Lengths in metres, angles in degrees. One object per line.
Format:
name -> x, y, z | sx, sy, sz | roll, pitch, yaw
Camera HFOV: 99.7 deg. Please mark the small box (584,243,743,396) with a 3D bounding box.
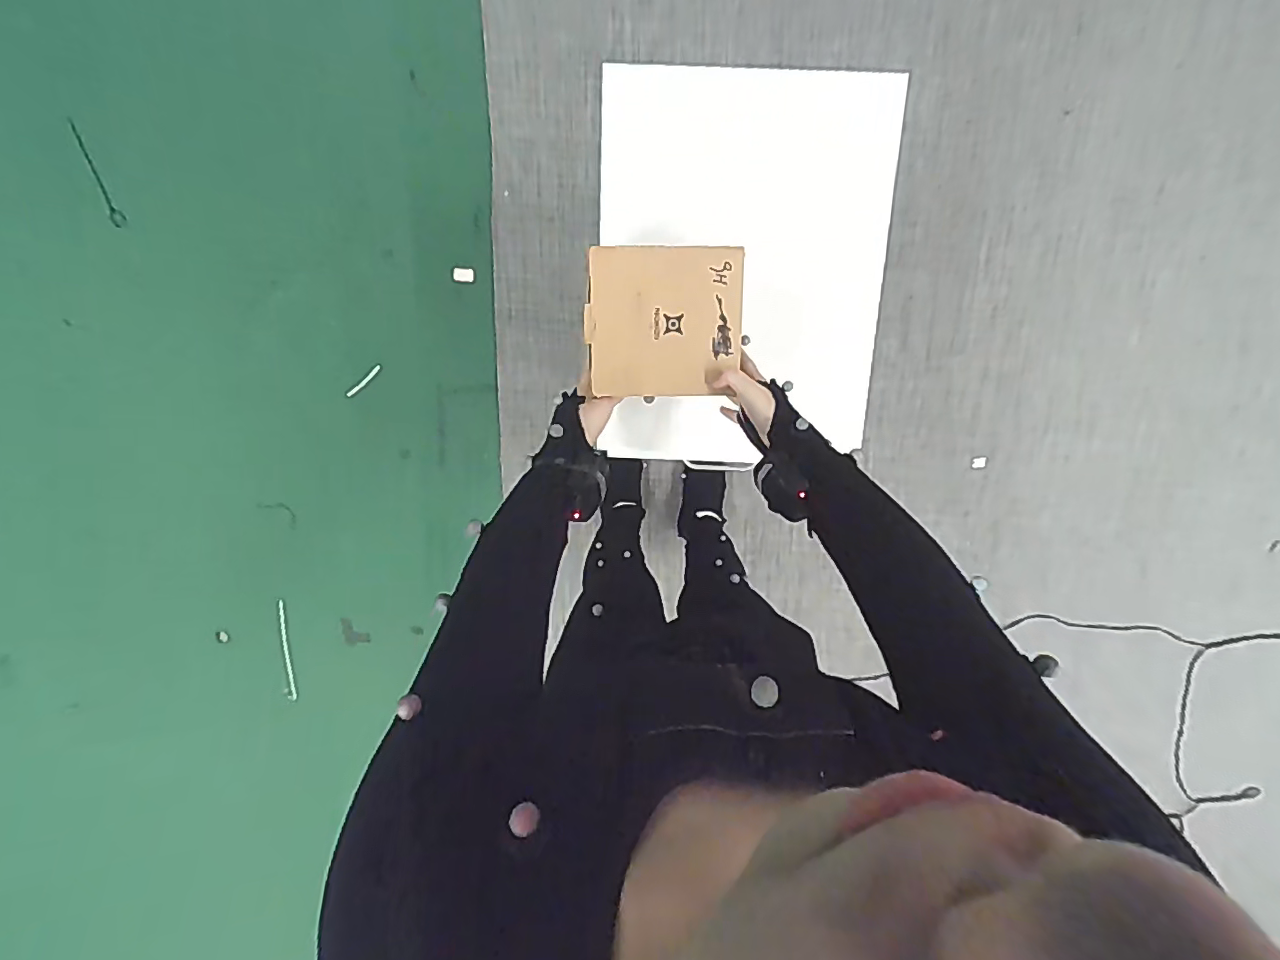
small box -> 0.024, -0.193, 0.687 | 0.179, 0.176, 0.168 | 1, 101, -1
